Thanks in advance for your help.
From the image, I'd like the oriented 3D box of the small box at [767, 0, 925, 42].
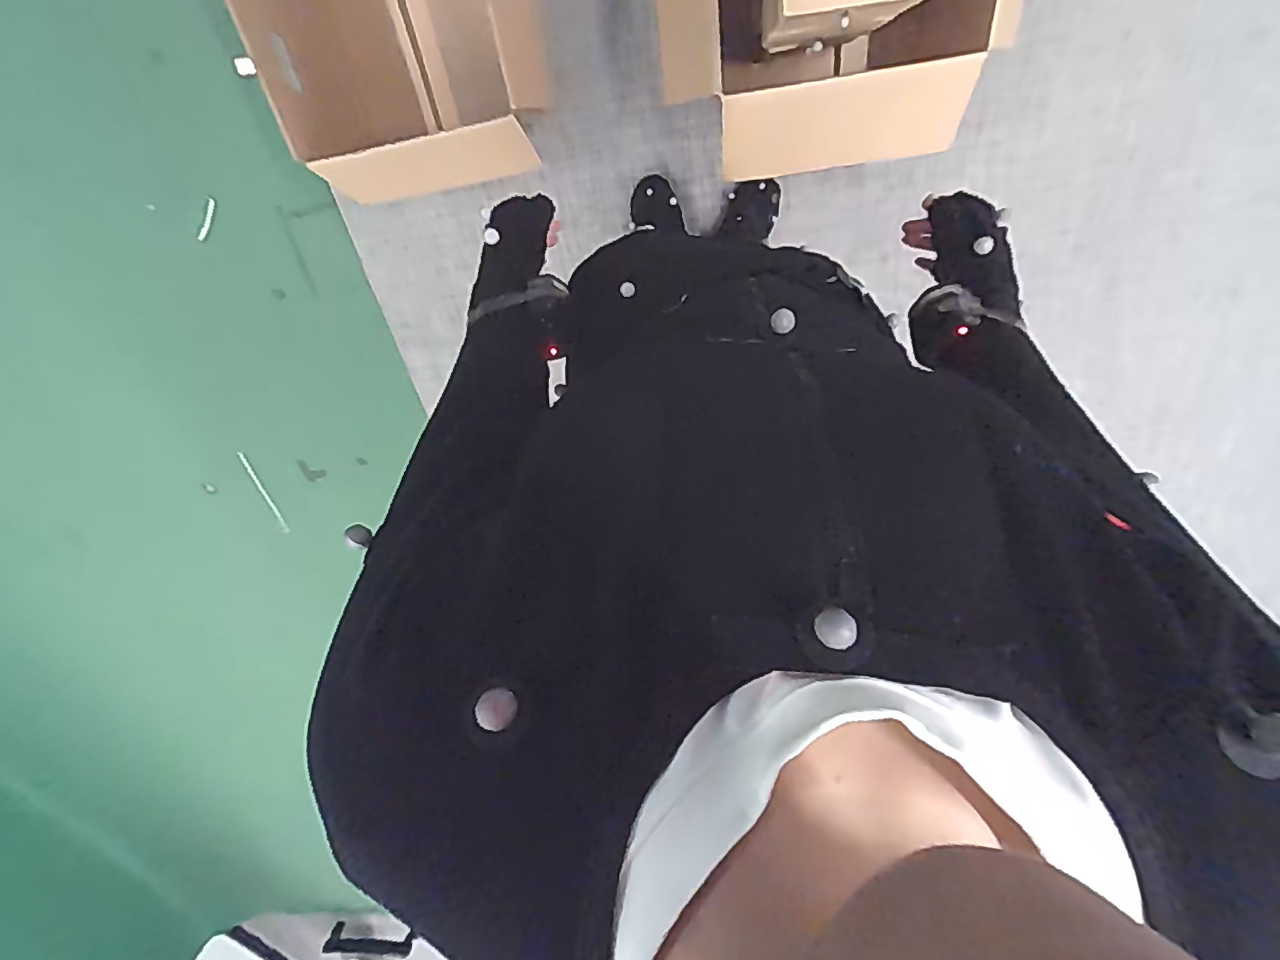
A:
[{"bbox_3d":[0.253,-0.671,0.674,0.179,0.176,0.168,-4,124,9],"label":"small box"}]
